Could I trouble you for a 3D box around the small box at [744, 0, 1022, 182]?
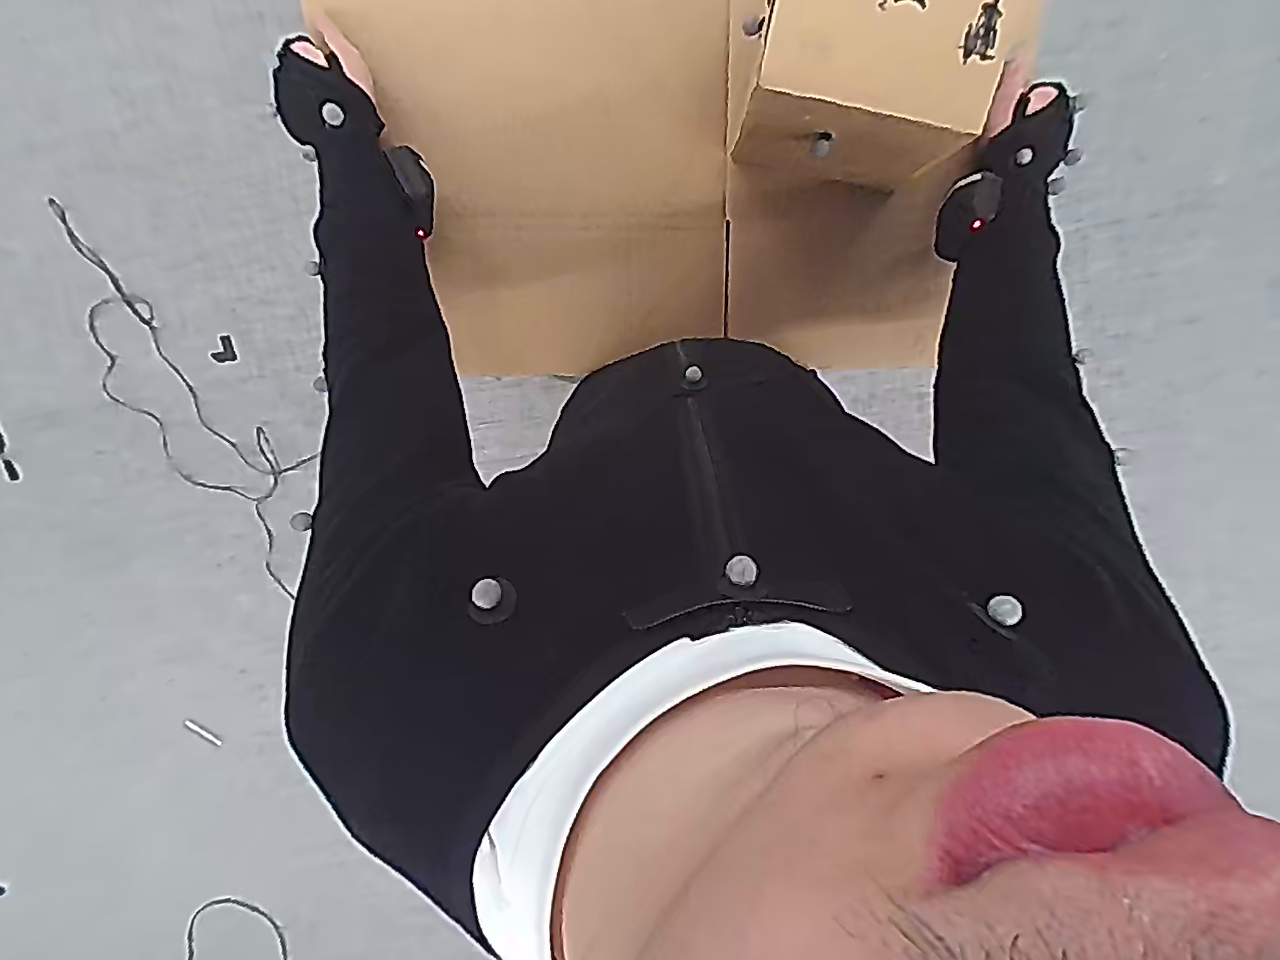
[{"bbox_3d":[0.197,-0.381,0.468,0.179,0.176,0.168,12,105,1],"label":"small box"}]
